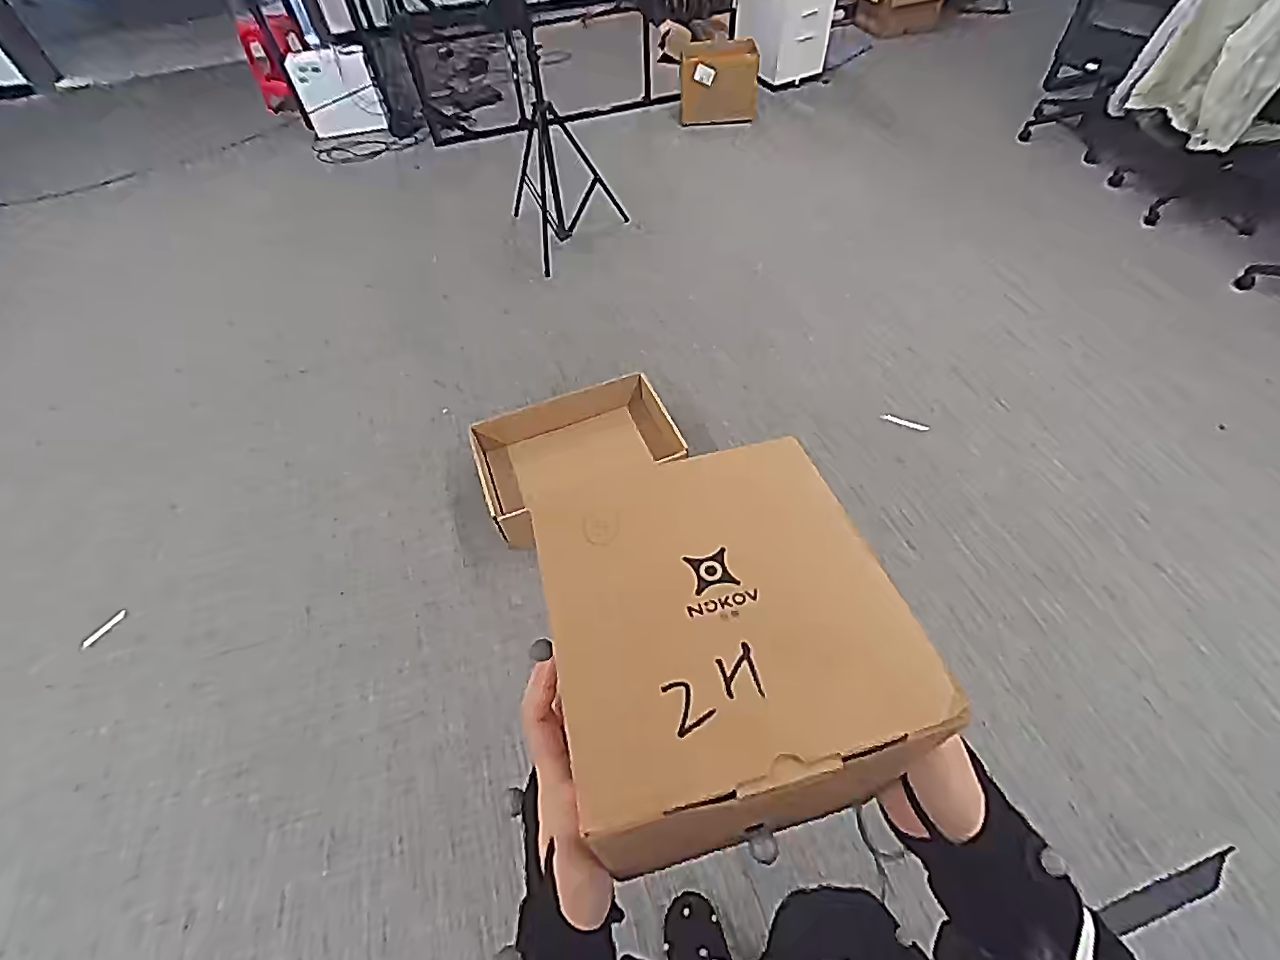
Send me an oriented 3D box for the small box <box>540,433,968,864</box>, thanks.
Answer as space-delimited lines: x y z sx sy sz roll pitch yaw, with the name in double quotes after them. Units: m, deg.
0.042 0.101 0.329 0.168 0.176 0.179 -13 50 -8 "small box"
